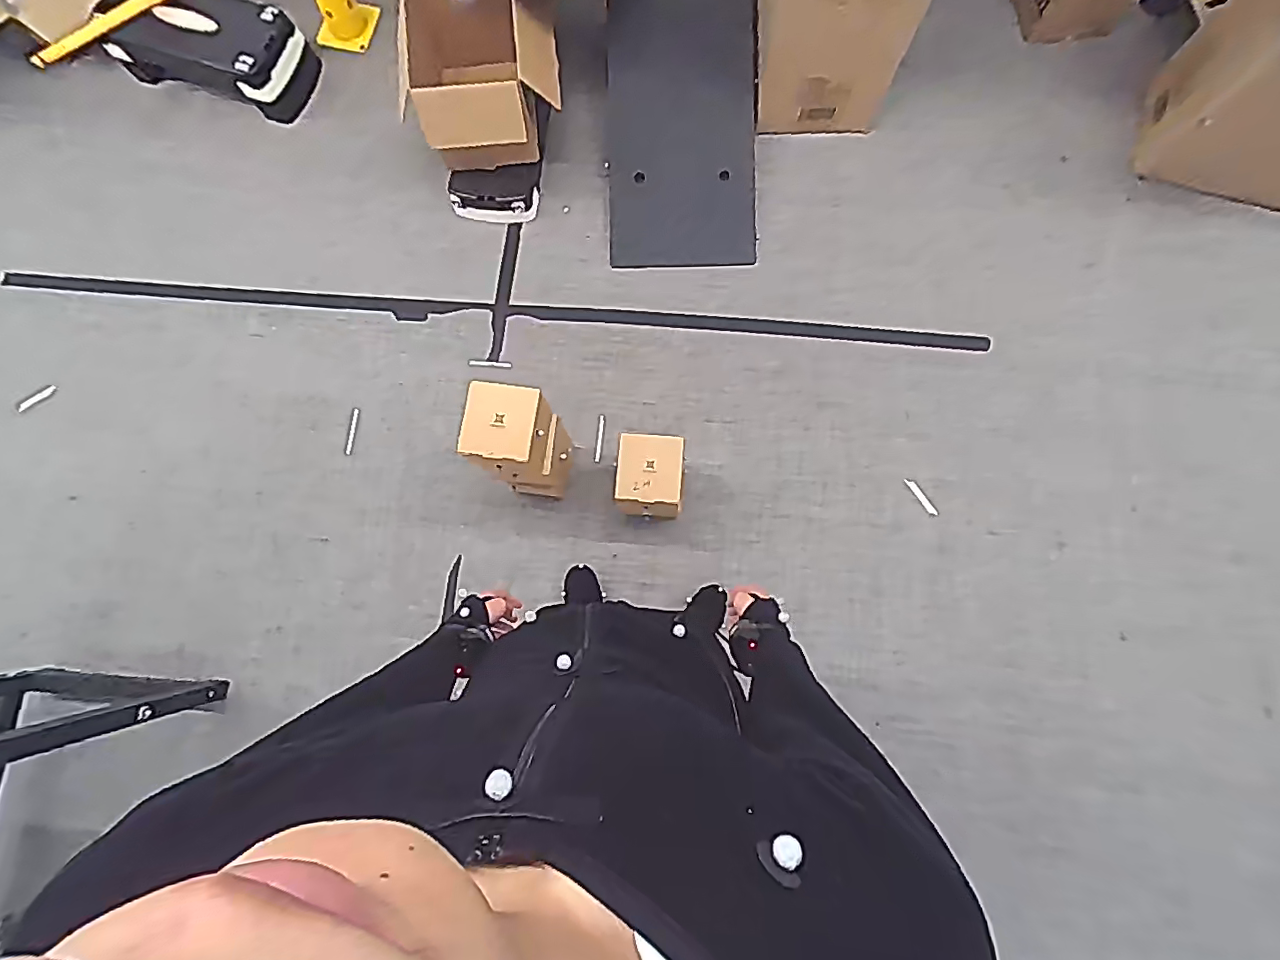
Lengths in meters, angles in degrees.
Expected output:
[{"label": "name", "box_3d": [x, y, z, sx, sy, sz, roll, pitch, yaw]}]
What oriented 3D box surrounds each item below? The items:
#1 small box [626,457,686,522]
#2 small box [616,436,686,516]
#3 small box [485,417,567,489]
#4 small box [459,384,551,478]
[{"label": "small box", "box_3d": [0.046, 0.026, 1.604, 0.168, 0.176, 0.179, 3, 81, 3]}, {"label": "small box", "box_3d": [0.031, -0.007, 1.443, 0.168, 0.176, 0.179, 5, 80, 3]}, {"label": "small box", "box_3d": [-0.303, -0.075, 1.460, 0.179, 0.176, 0.168, 6, 80, 1]}, {"label": "small box", "box_3d": [-0.315, -0.112, 1.302, 0.168, 0.176, 0.179, 8, 80, 2]}]
